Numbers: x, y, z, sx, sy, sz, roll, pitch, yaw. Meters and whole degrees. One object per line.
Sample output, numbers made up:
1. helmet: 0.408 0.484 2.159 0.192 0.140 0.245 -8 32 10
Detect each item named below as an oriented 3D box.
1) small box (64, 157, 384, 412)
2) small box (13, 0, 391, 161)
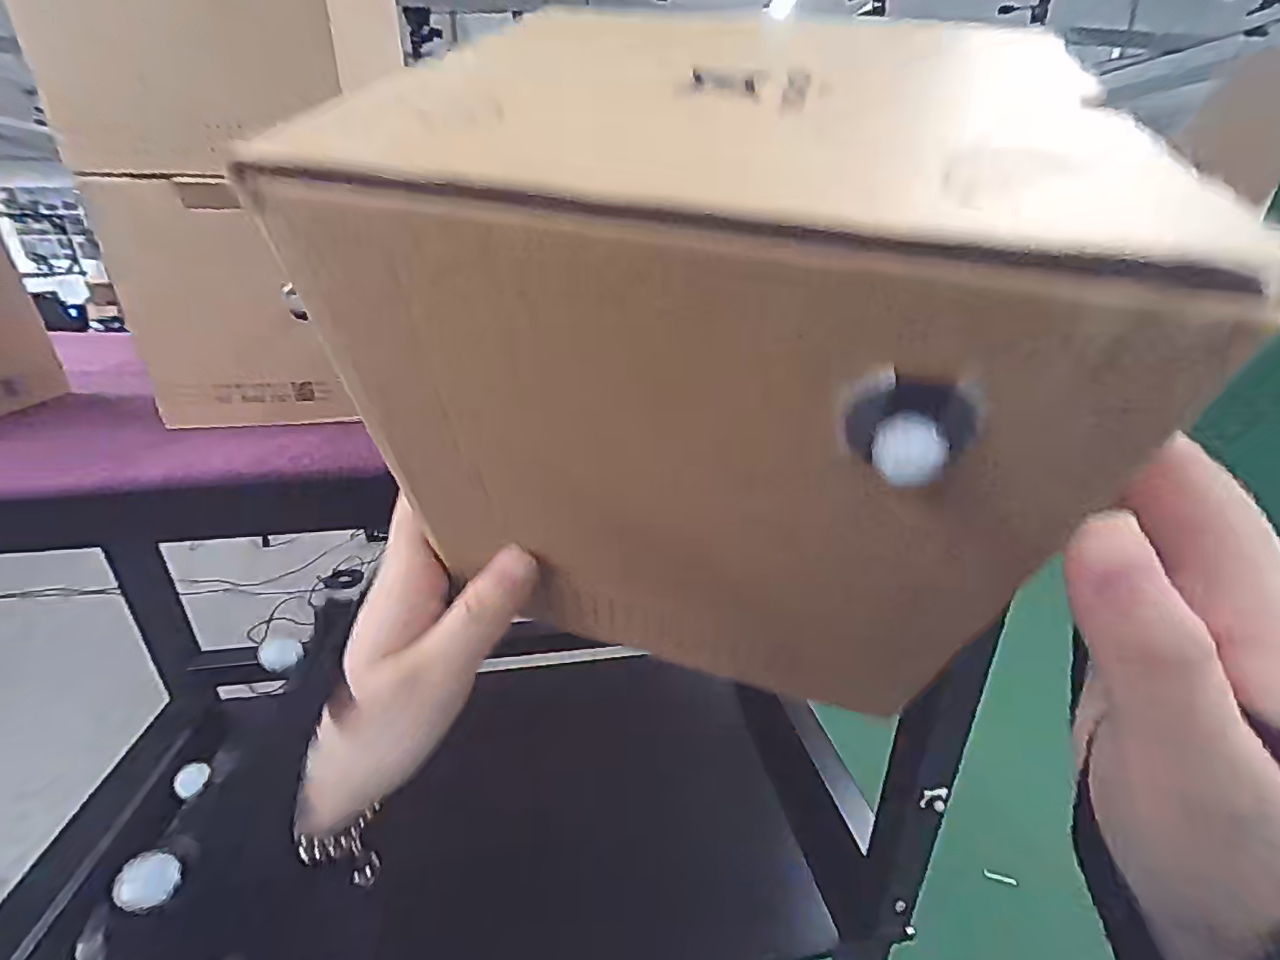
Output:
1. small box: -0.280 -0.155 0.443 0.168 0.176 0.179 -2 23 -7
2. small box: -0.280 -0.307 0.378 0.179 0.176 0.168 -2 25 -6
